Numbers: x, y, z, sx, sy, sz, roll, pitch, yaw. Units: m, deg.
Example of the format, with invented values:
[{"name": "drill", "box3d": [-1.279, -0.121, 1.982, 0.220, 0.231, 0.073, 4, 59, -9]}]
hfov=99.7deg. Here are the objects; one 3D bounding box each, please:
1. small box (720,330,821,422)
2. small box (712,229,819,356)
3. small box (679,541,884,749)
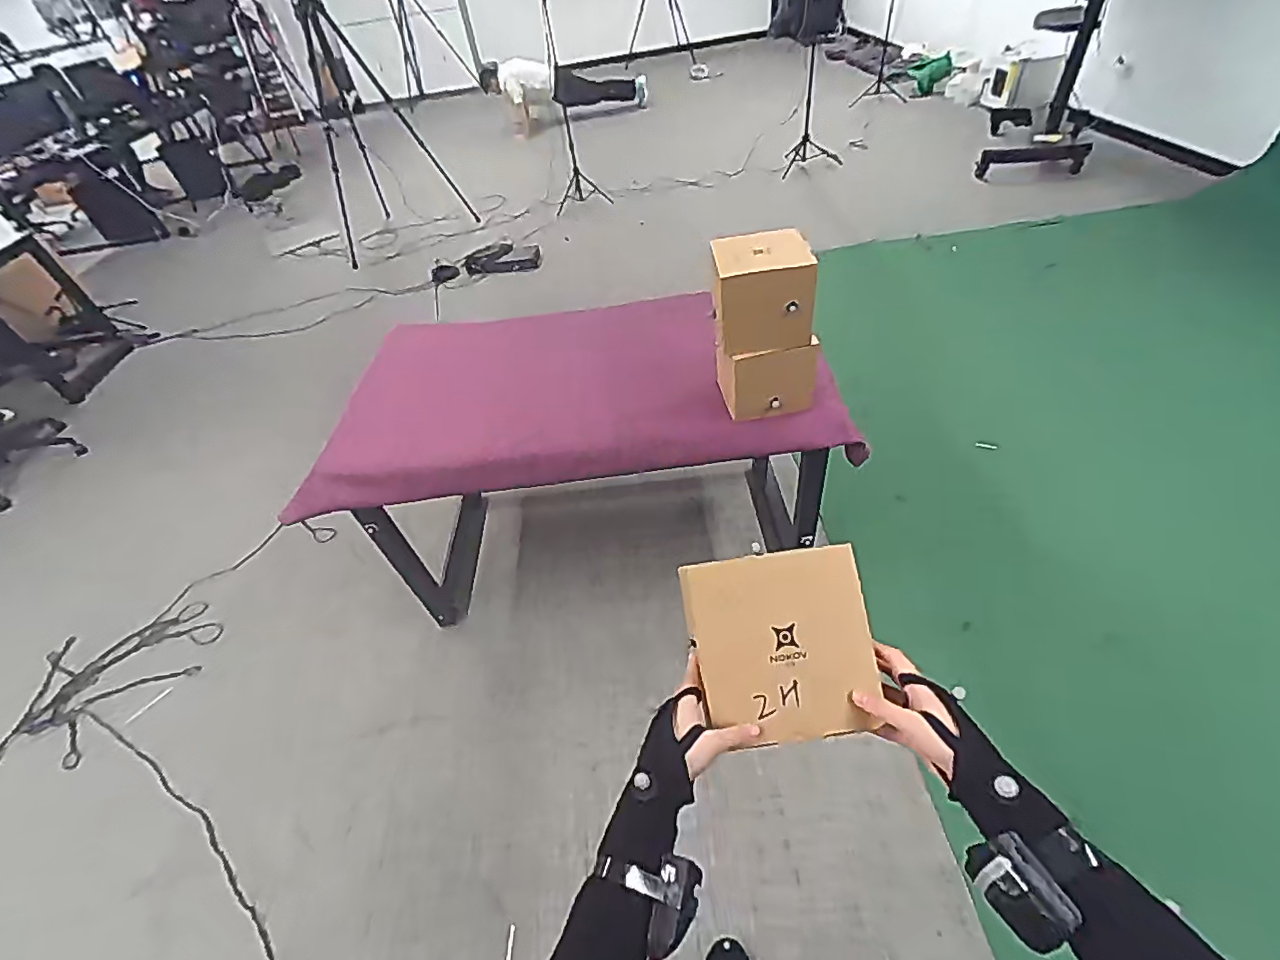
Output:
[{"name": "small box", "box3d": [0.272, -0.248, 1.173, 0.179, 0.176, 0.168, -10, 45, 1]}, {"name": "small box", "box3d": [0.238, -0.365, 1.063, 0.179, 0.176, 0.168, -7, 46, 5]}, {"name": "small box", "box3d": [0.137, 0.168, 0.594, 0.168, 0.176, 0.179, -8, 81, 1]}]
